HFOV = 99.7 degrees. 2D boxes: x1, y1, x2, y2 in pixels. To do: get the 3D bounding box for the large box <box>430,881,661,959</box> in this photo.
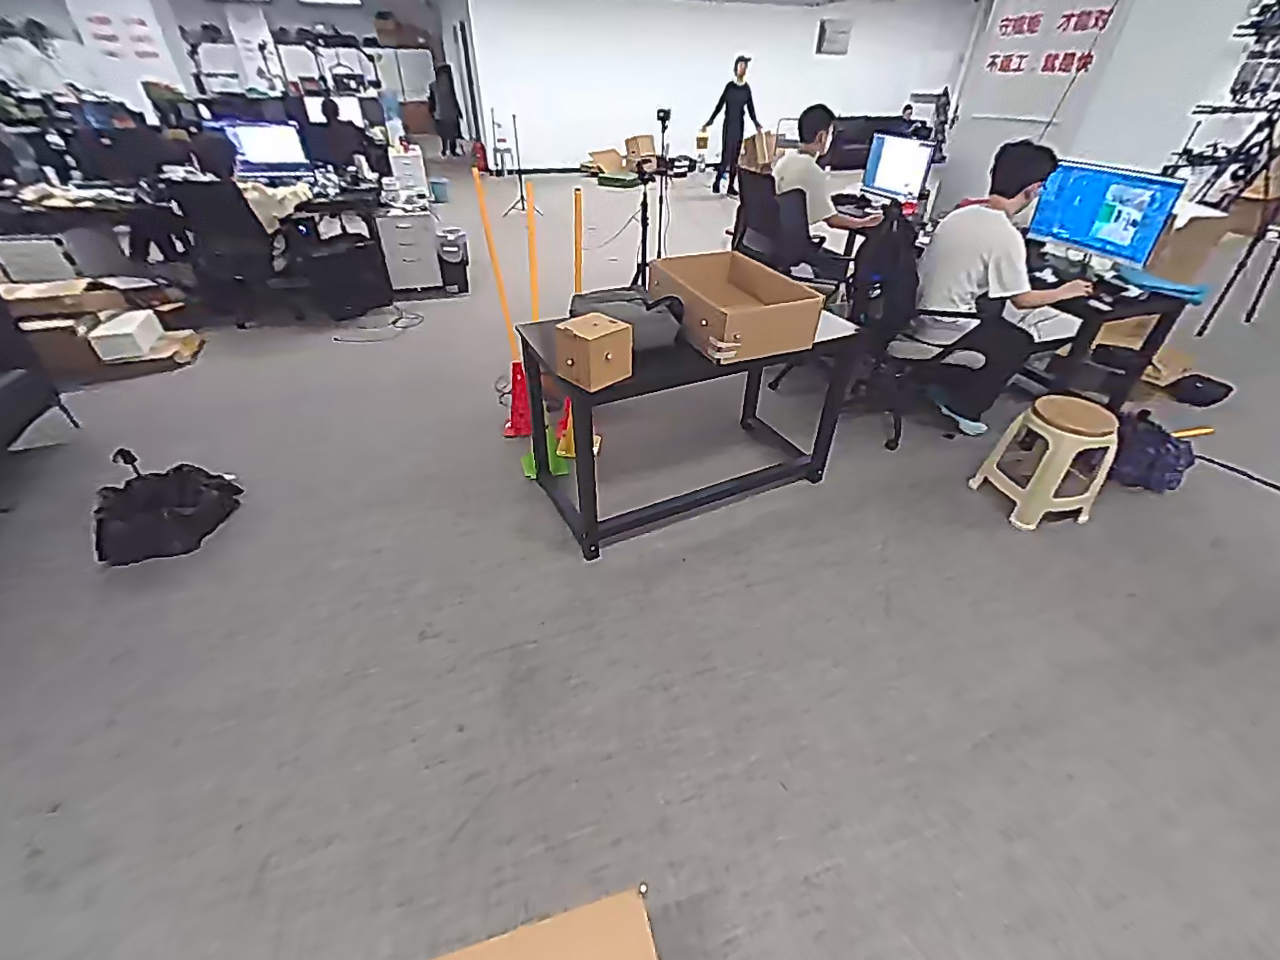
[{"bbox_3d":[-0.146,0.999,0.946,0.408,0.320,0.320,-10,39,-14],"label":"large box"}]
